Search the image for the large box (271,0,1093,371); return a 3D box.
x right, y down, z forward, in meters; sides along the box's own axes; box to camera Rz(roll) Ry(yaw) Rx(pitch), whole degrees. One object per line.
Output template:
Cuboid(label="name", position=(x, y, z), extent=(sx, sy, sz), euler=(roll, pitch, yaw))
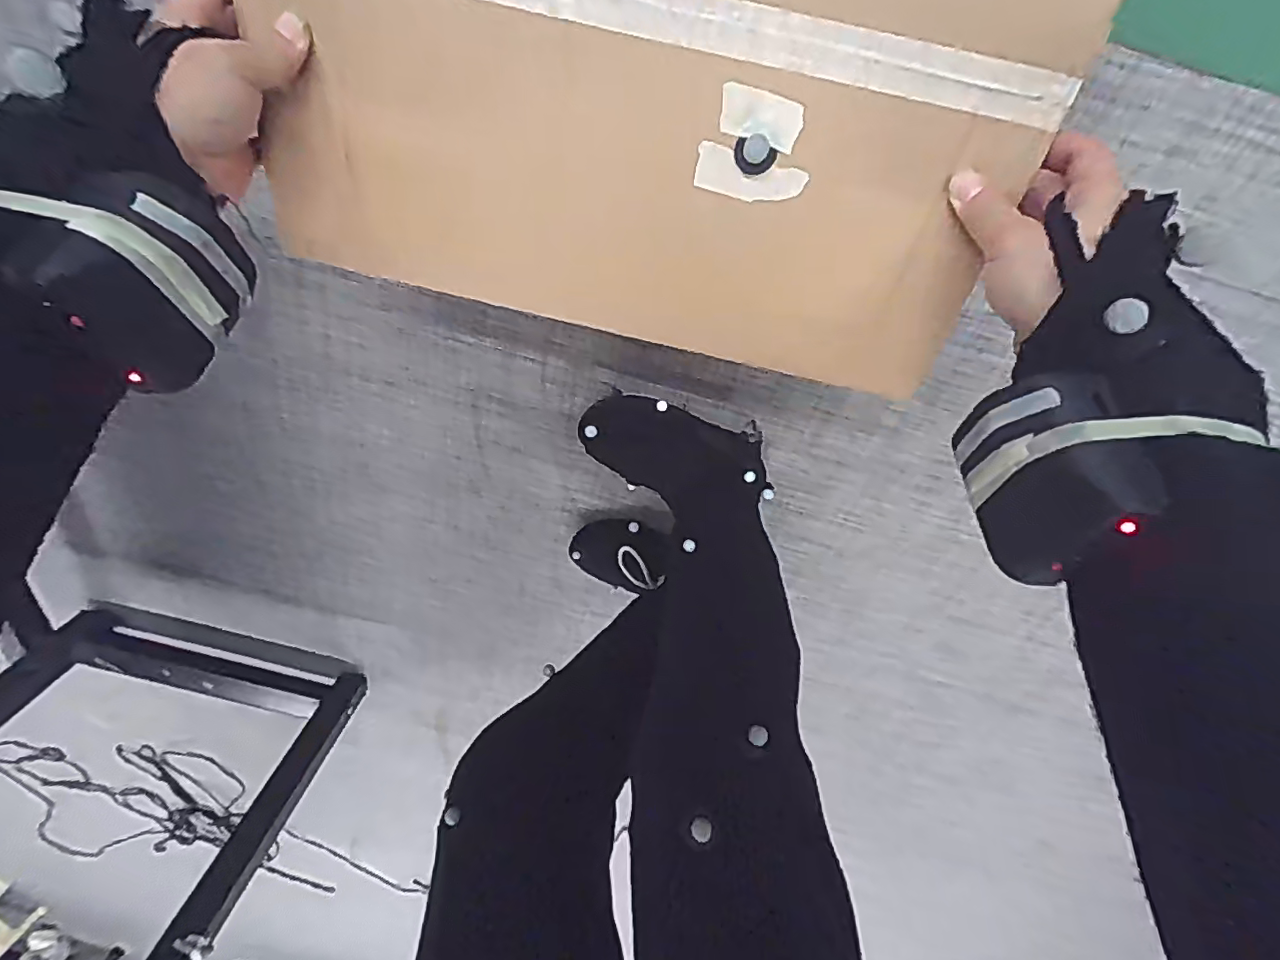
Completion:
Cuboid(label="large box", position=(0.022, -0.312, 0.393), extent=(0.408, 0.320, 0.320), euler=(12, 125, -1))
